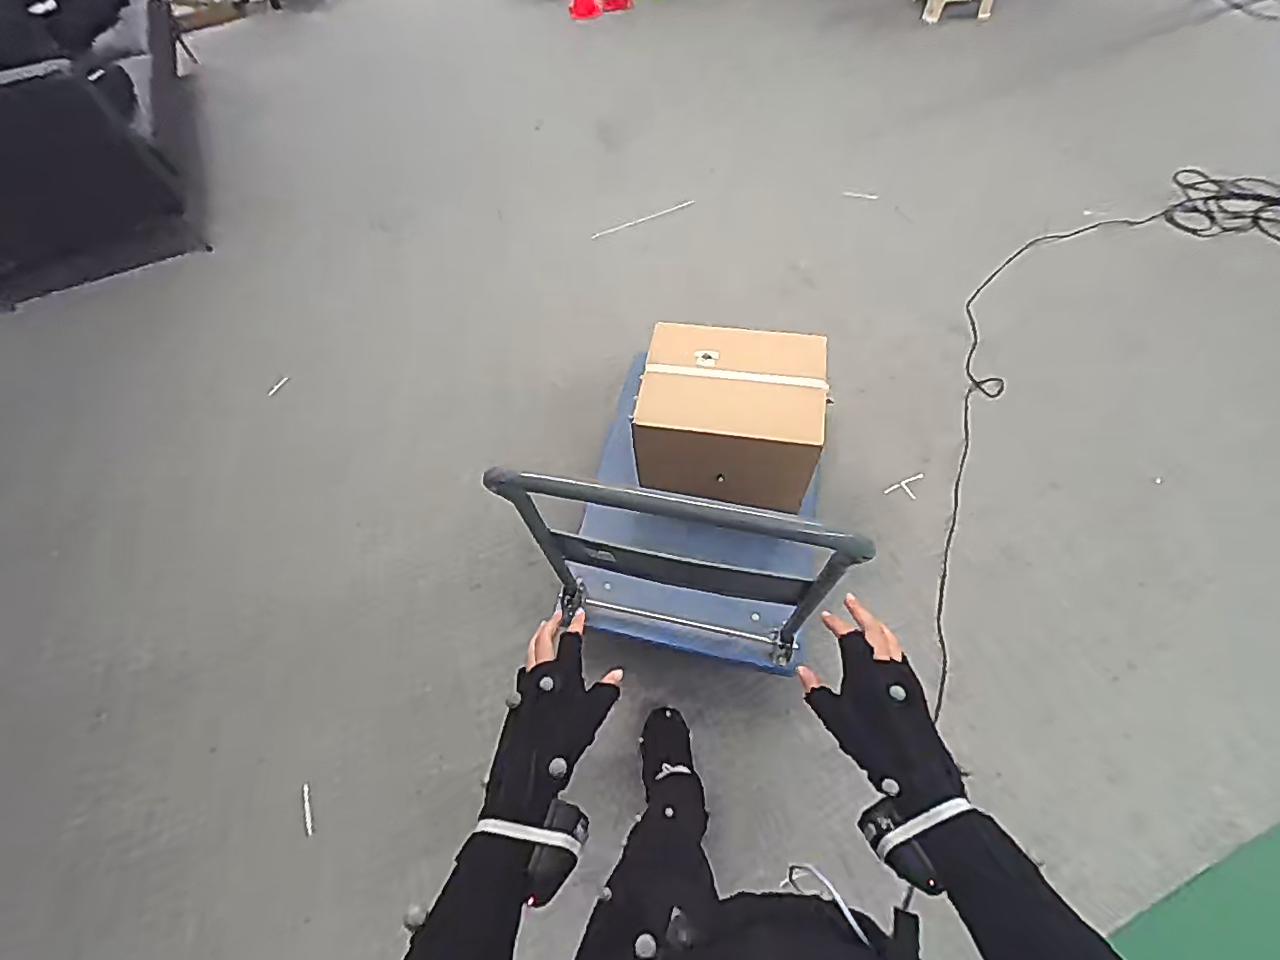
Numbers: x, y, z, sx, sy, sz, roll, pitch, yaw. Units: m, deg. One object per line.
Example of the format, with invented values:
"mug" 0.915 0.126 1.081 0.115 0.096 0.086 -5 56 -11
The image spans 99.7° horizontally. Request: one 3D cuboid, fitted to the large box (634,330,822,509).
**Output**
"large box" 0.220 -0.144 1.344 0.408 0.320 0.320 6 59 10
